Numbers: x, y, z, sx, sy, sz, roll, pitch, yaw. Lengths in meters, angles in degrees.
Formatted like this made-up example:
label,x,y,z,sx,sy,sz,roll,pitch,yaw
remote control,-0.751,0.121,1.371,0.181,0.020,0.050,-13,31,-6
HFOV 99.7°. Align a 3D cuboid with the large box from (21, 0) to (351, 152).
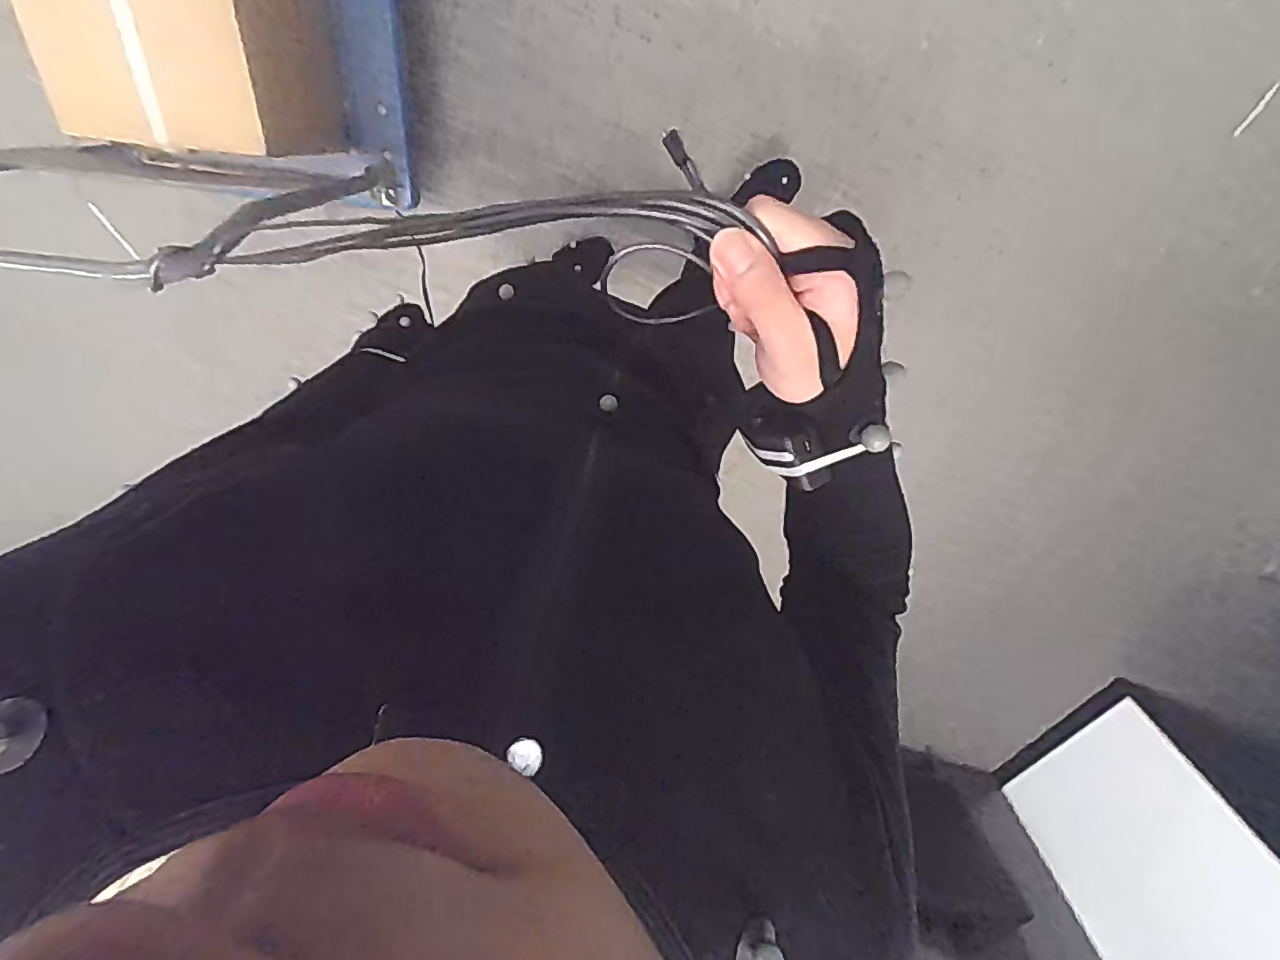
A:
label,x,y,z,sx,sy,sz,roll,pitch,yaw
large box,-0.726,-0.781,0.882,0.320,0.320,0.408,4,121,-4
